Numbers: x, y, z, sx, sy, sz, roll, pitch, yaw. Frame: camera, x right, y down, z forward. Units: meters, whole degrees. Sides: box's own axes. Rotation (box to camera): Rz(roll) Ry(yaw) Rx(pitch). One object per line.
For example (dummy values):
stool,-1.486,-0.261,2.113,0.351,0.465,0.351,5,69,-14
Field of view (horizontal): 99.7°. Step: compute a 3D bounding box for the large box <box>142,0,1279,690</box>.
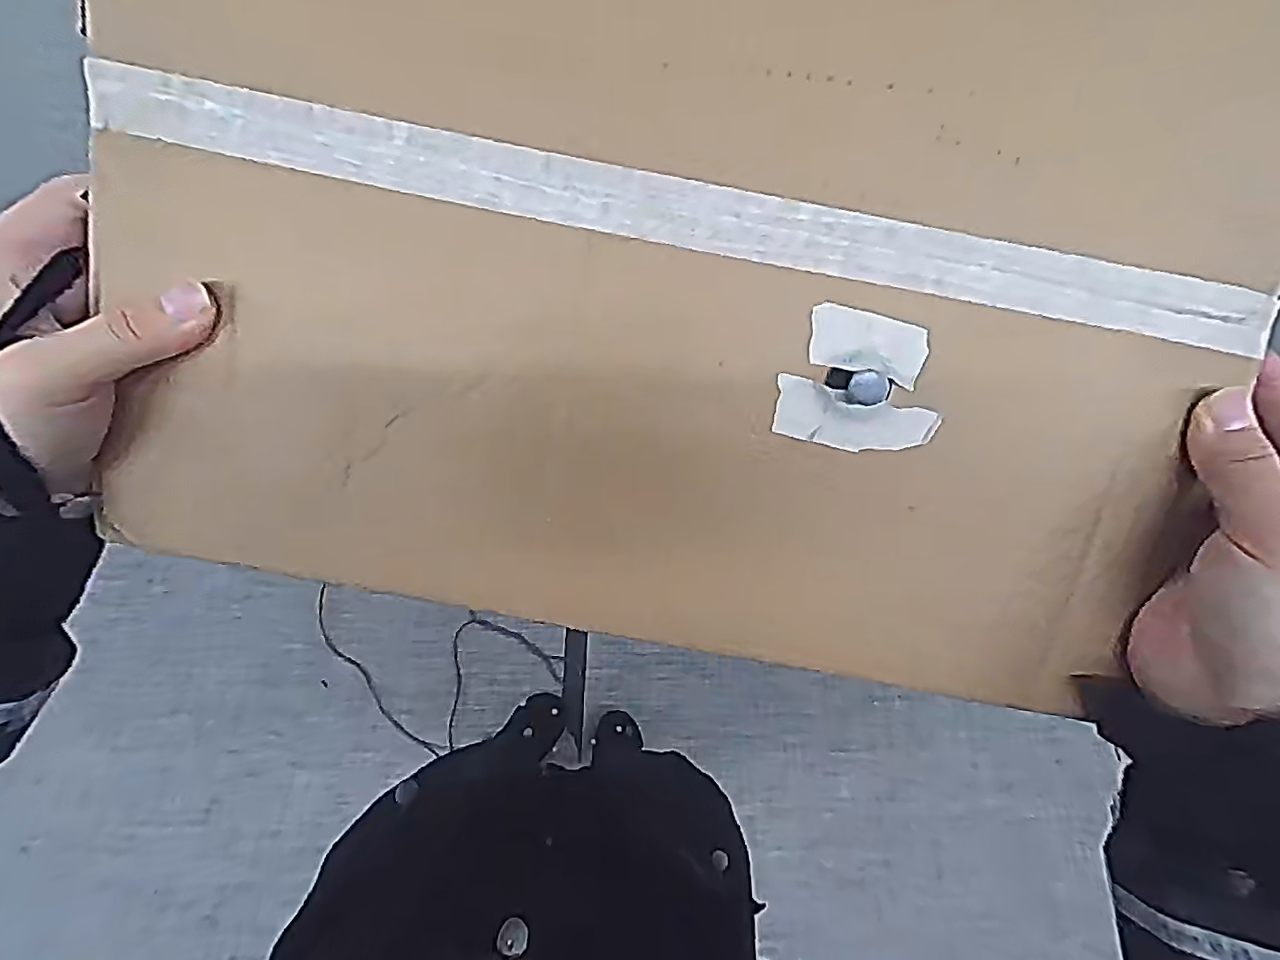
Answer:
large box,0.023,-0.115,0.342,0.408,0.320,0.320,10,101,-2
